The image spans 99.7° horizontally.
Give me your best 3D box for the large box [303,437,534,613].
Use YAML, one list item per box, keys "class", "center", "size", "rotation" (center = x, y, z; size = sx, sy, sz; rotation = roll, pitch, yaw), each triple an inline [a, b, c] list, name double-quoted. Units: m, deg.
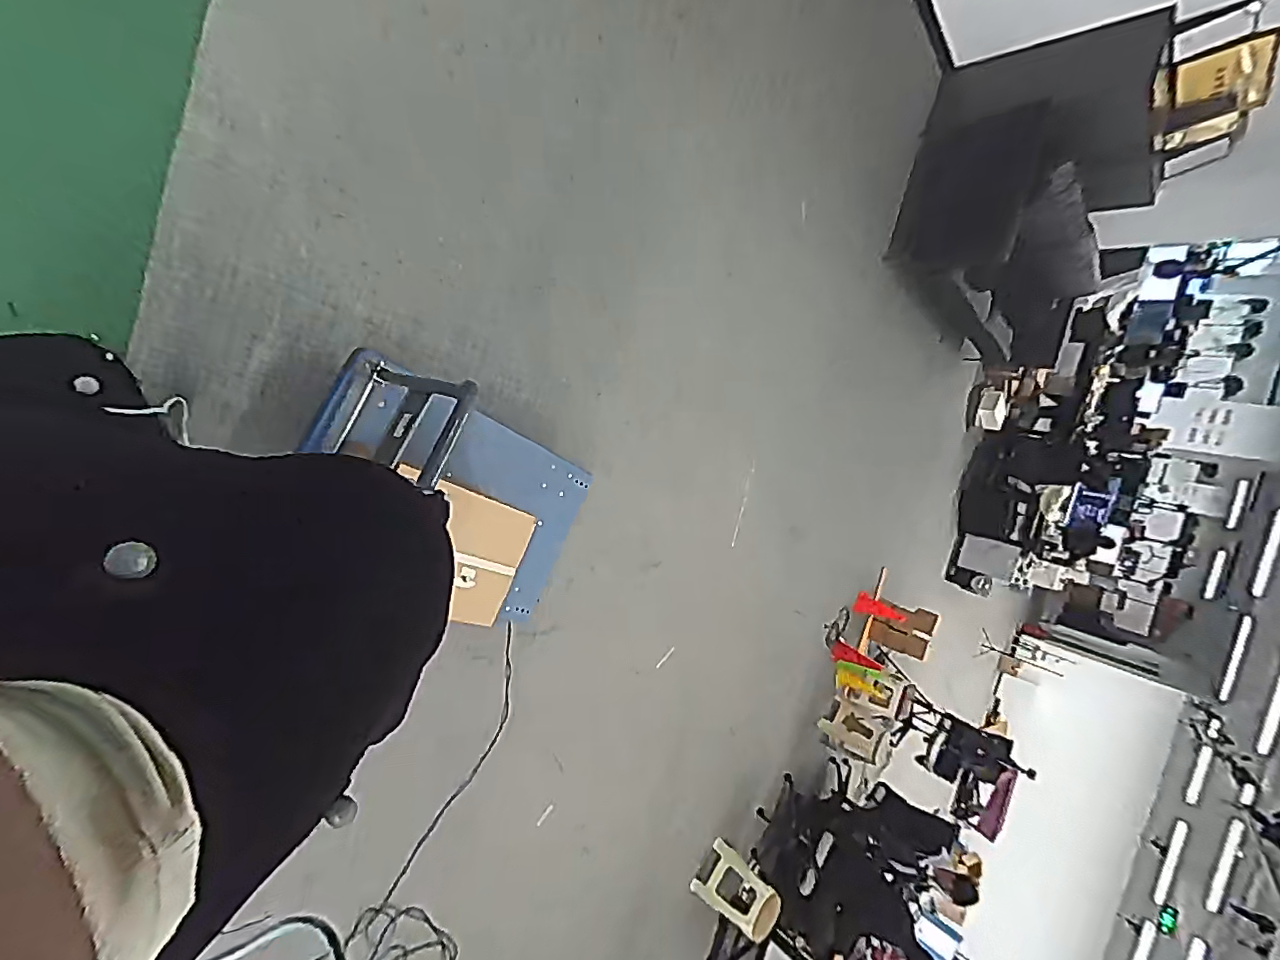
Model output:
- class: "large box"
  center: [-0.565, 0.117, 1.397]
  size: [0.408, 0.320, 0.320]
  rotation: [29, 82, -46]
